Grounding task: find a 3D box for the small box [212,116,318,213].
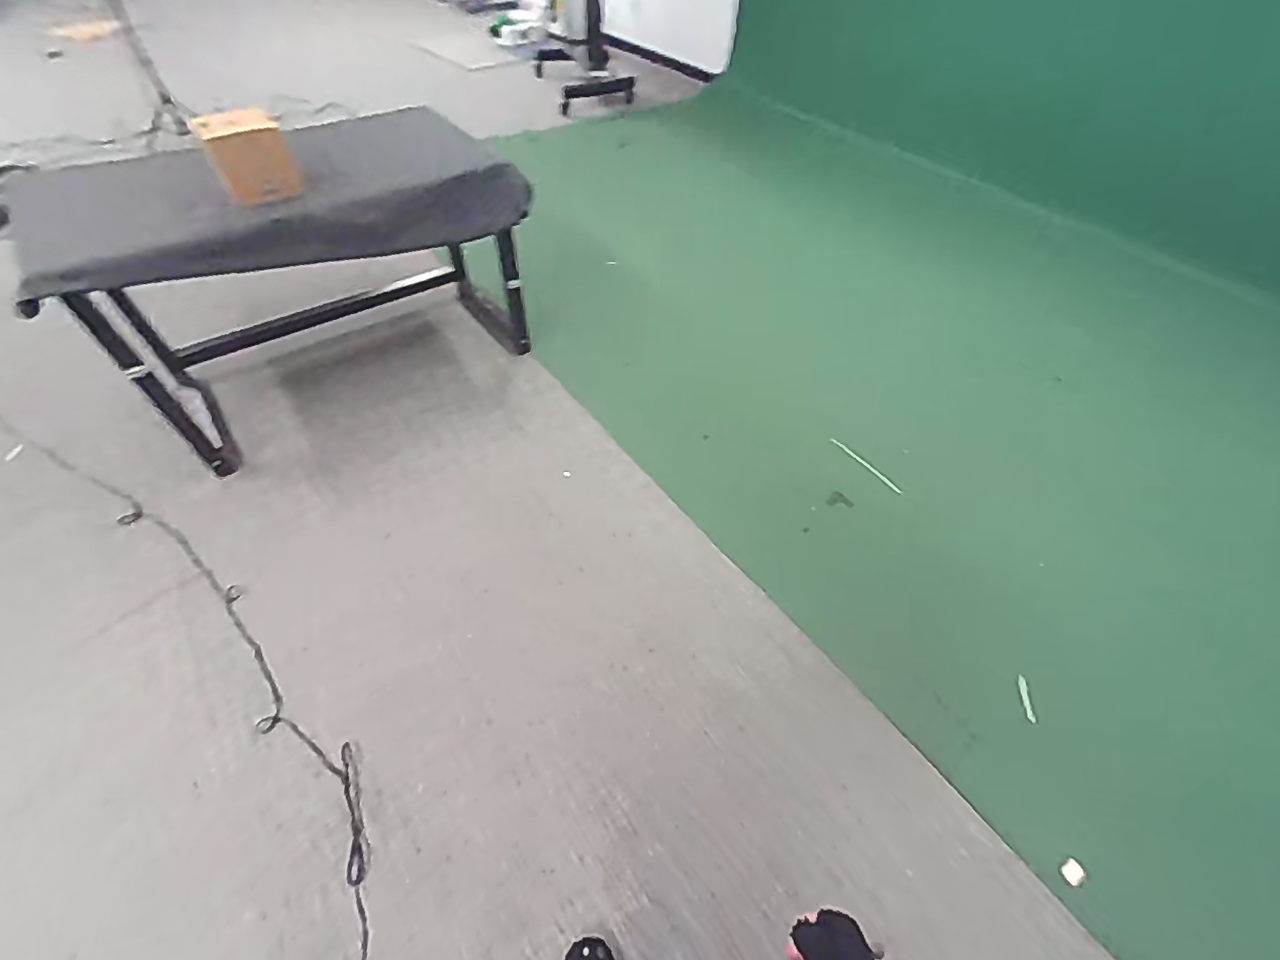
[{"bbox_3d":[-1.003,-0.853,1.463,0.179,0.176,0.168,-29,56,-23],"label":"small box"}]
